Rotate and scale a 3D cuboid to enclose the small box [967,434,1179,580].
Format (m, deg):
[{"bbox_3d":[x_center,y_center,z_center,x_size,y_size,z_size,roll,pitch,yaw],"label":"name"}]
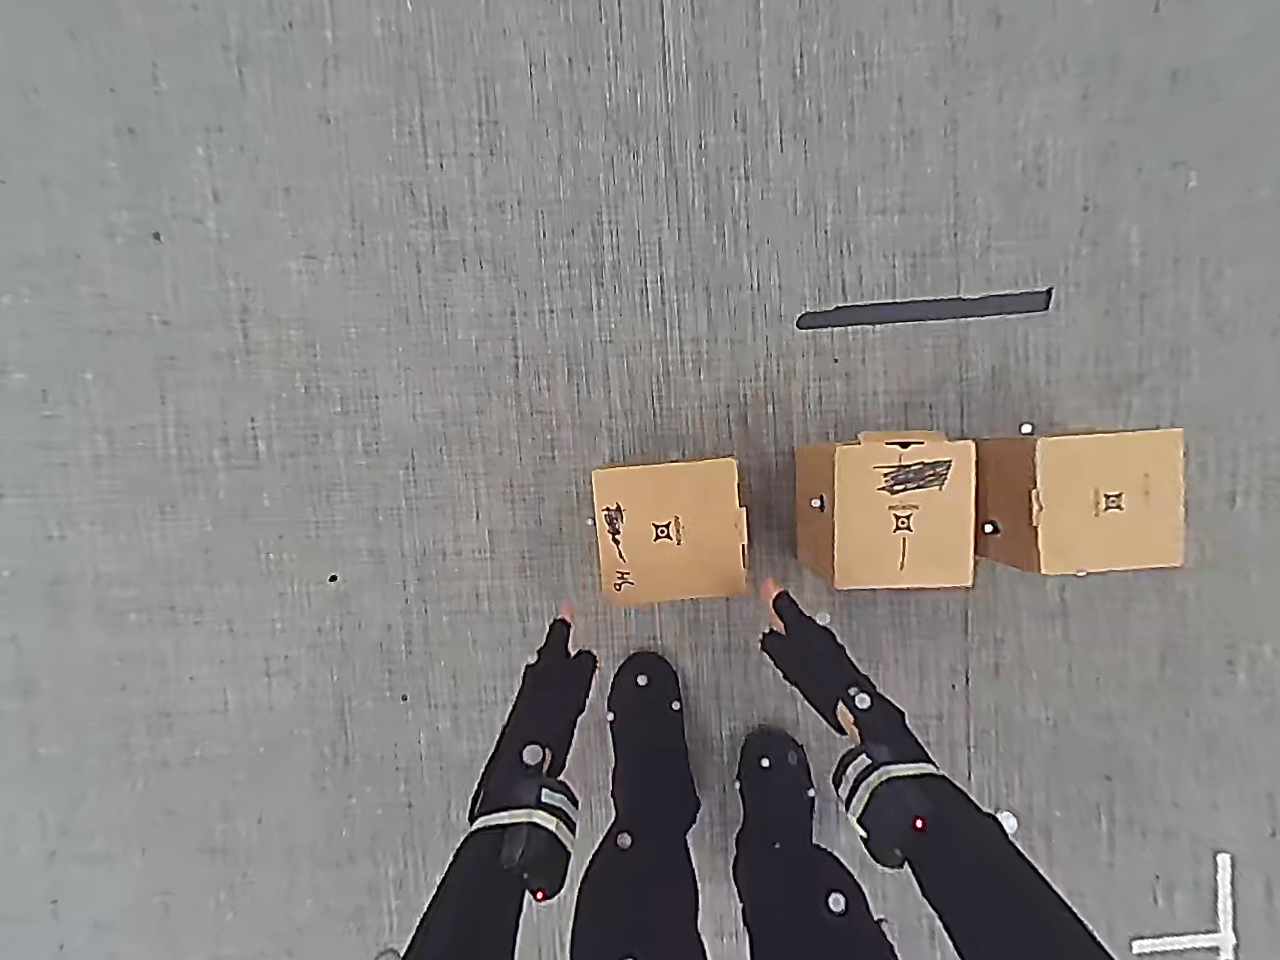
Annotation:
[{"bbox_3d":[0.547,0.028,0.716,0.179,0.176,0.168,-5,95,0],"label":"small box"}]

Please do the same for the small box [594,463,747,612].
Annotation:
[{"bbox_3d":[0.035,0.066,0.725,0.179,0.176,0.168,-5,93,0],"label":"small box"}]

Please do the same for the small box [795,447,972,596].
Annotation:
[{"bbox_3d":[0.309,0.046,0.718,0.168,0.176,0.179,-1,94,1],"label":"small box"}]
